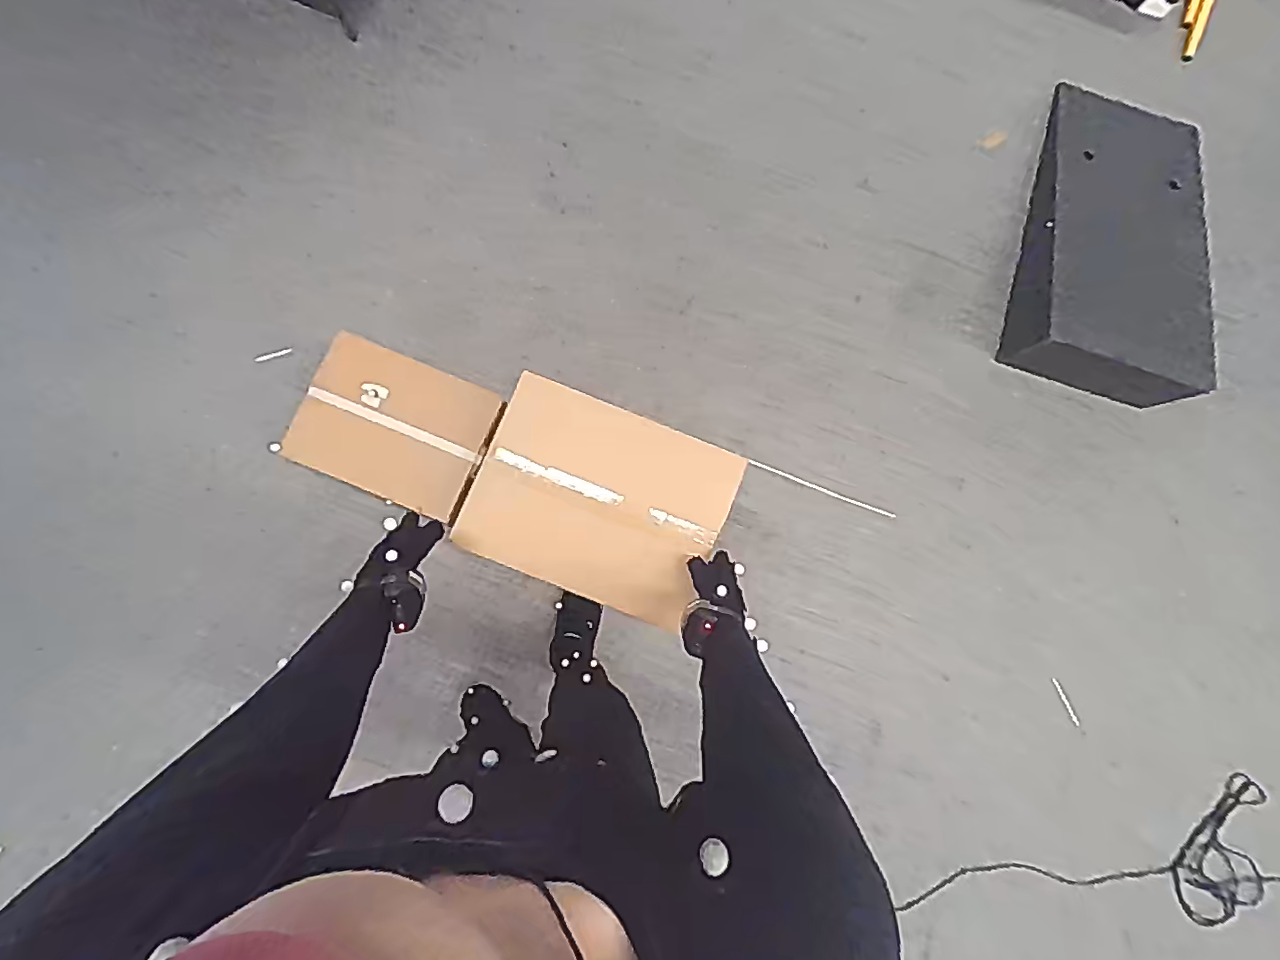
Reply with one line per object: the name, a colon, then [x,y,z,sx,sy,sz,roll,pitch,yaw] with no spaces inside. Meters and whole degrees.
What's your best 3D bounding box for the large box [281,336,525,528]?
large box: [-0.546,-0.095,1.336,0.408,0.320,0.320,23,82,1]
